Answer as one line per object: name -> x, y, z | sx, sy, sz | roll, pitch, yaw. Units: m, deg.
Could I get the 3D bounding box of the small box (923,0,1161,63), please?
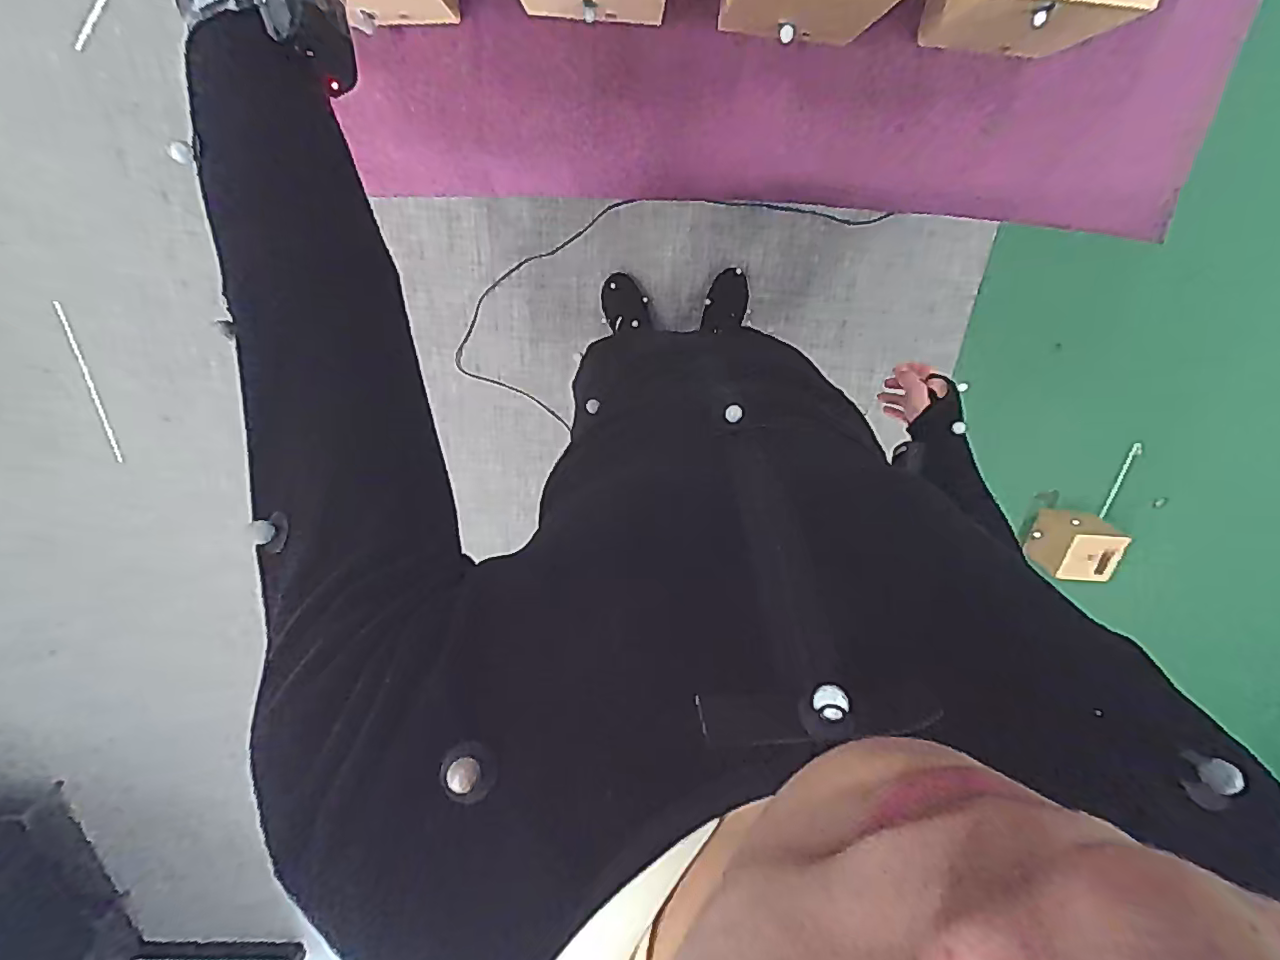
small box -> 0.429, -0.572, 0.563 | 0.168, 0.176, 0.179 | 4, 114, -2

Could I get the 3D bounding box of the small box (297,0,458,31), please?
small box -> -0.299, -0.593, 0.547 | 0.168, 0.176, 0.179 | -1, 116, 0

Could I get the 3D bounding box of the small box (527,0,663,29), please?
small box -> -0.050, -0.600, 0.546 | 0.168, 0.176, 0.179 | 3, 115, -2

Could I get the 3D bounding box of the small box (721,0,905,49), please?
small box -> 0.185, -0.583, 0.556 | 0.168, 0.176, 0.179 | 5, 116, -3
